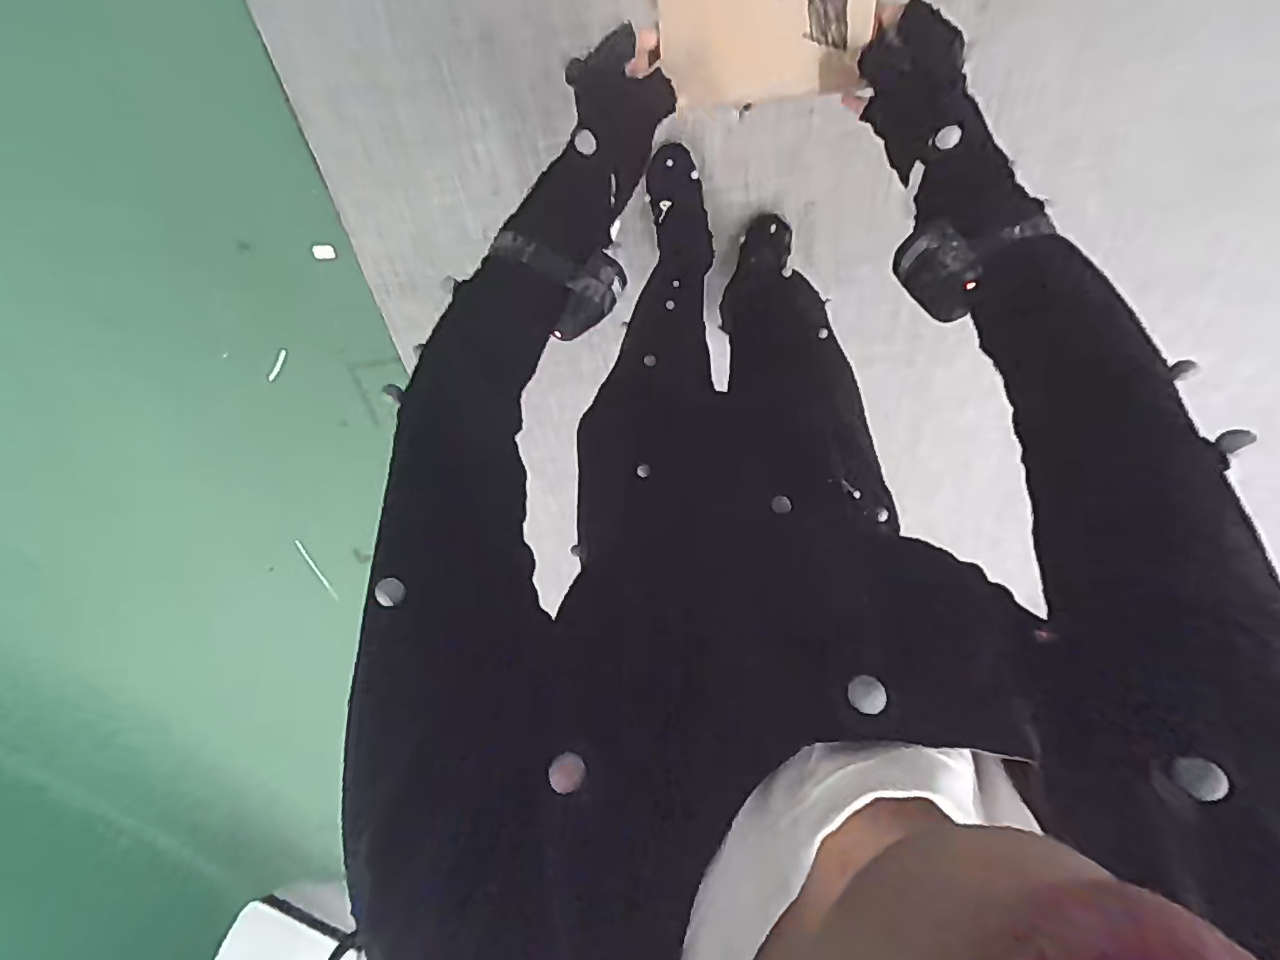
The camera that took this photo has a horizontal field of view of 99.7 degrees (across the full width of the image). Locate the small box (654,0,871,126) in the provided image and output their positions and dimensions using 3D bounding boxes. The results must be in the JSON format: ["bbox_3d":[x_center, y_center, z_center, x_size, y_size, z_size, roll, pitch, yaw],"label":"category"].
[{"bbox_3d":[0.102,-0.435,0.501,0.179,0.176,0.168,-3,121,6],"label":"small box"}]
